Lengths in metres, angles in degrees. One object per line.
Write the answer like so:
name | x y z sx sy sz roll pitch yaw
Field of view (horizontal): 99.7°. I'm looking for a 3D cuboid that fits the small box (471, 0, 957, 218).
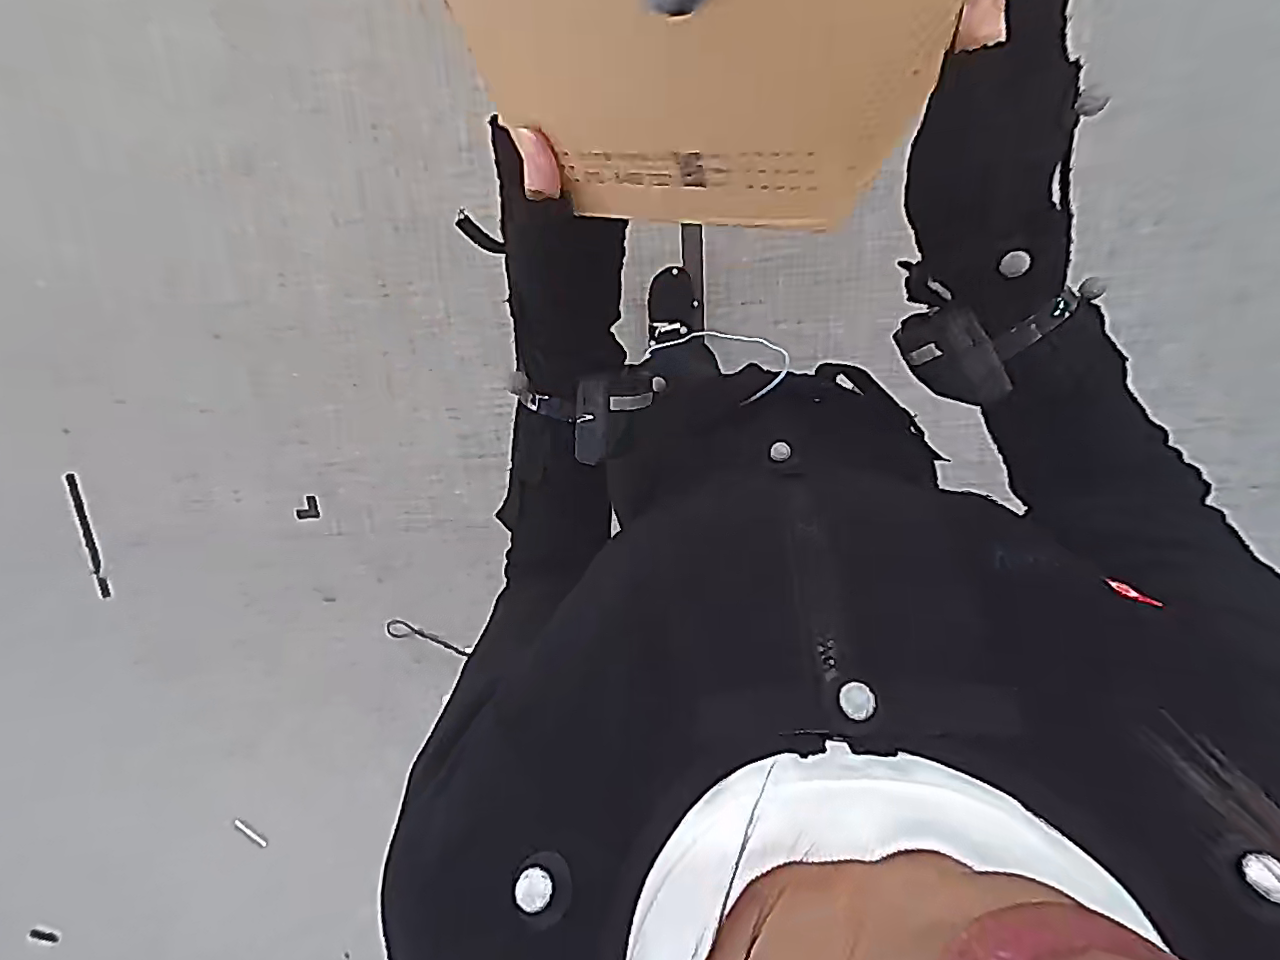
small box | 0.036 -0.239 0.233 0.168 0.176 0.179 22 67 31
